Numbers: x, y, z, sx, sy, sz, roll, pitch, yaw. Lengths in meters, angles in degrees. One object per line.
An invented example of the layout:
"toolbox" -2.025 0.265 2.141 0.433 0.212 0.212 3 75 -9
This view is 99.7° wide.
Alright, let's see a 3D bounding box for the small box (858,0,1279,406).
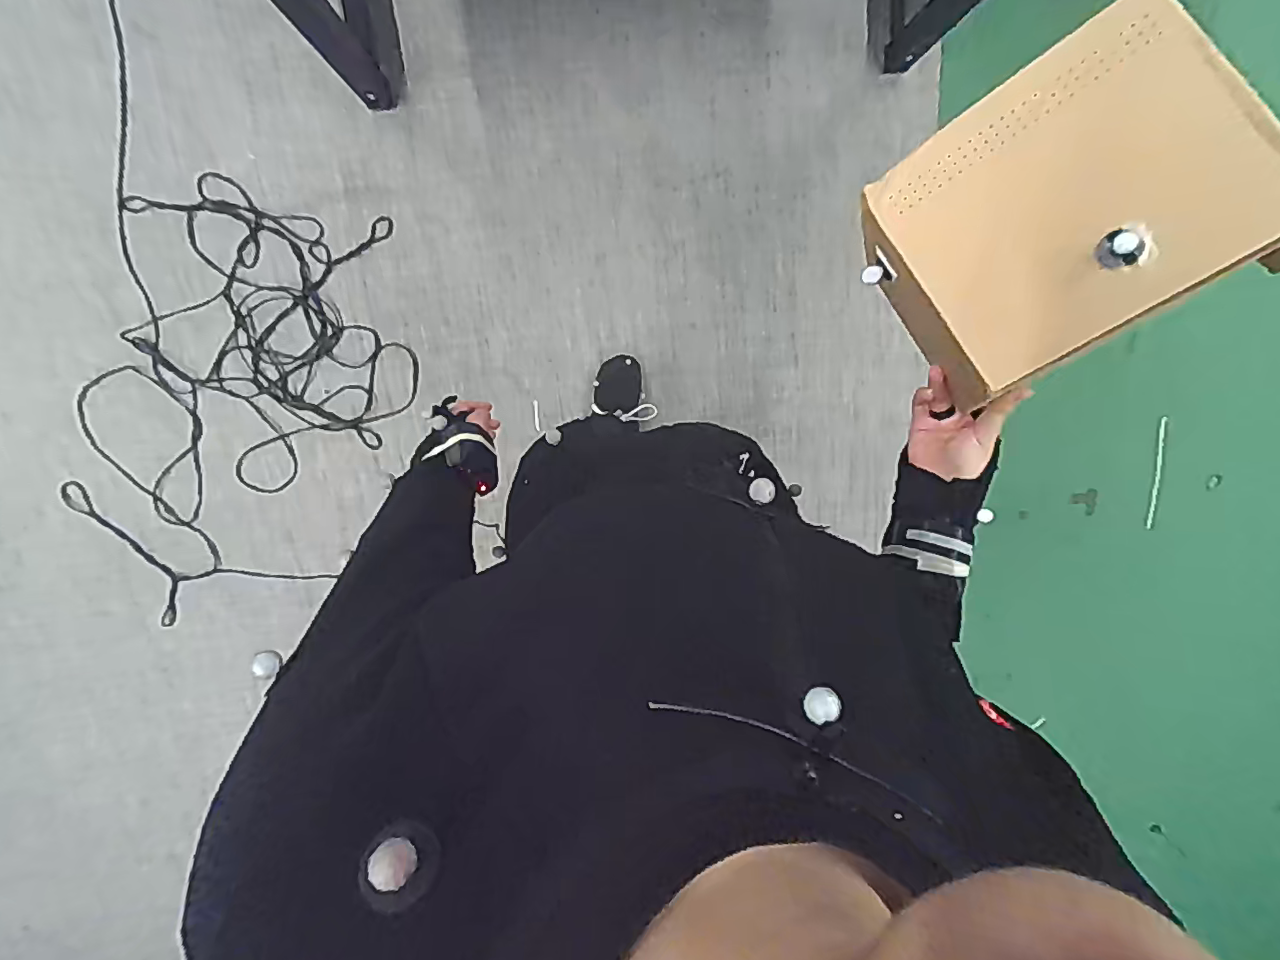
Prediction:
"small box" 0.281 -0.175 0.381 0.179 0.168 0.176 -32 78 23
